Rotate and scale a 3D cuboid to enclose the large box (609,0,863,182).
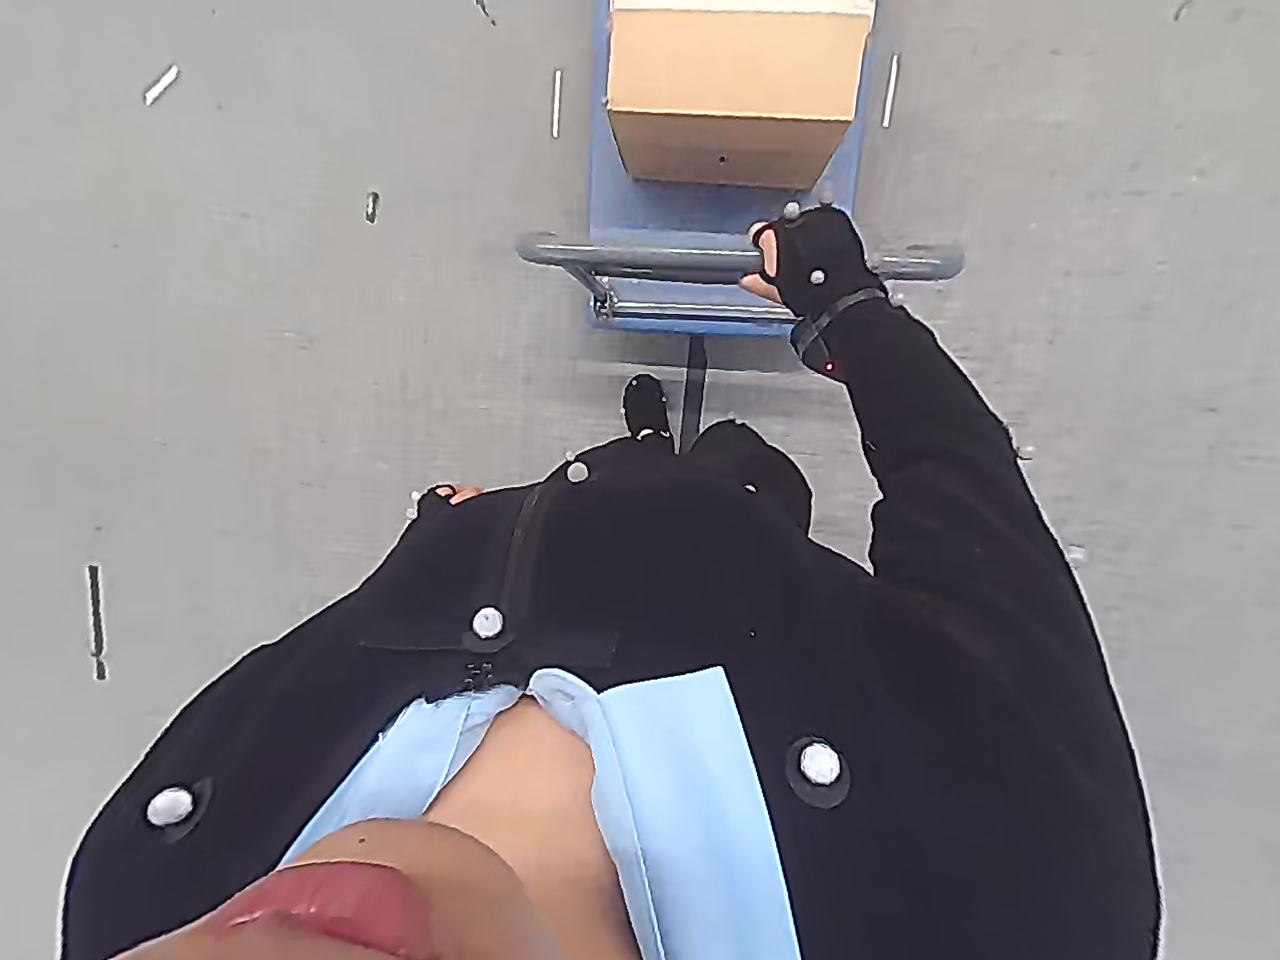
[{"bbox_3d":[0.172,-0.780,1.015,0.408,0.320,0.320,6,100,5],"label":"large box"}]
